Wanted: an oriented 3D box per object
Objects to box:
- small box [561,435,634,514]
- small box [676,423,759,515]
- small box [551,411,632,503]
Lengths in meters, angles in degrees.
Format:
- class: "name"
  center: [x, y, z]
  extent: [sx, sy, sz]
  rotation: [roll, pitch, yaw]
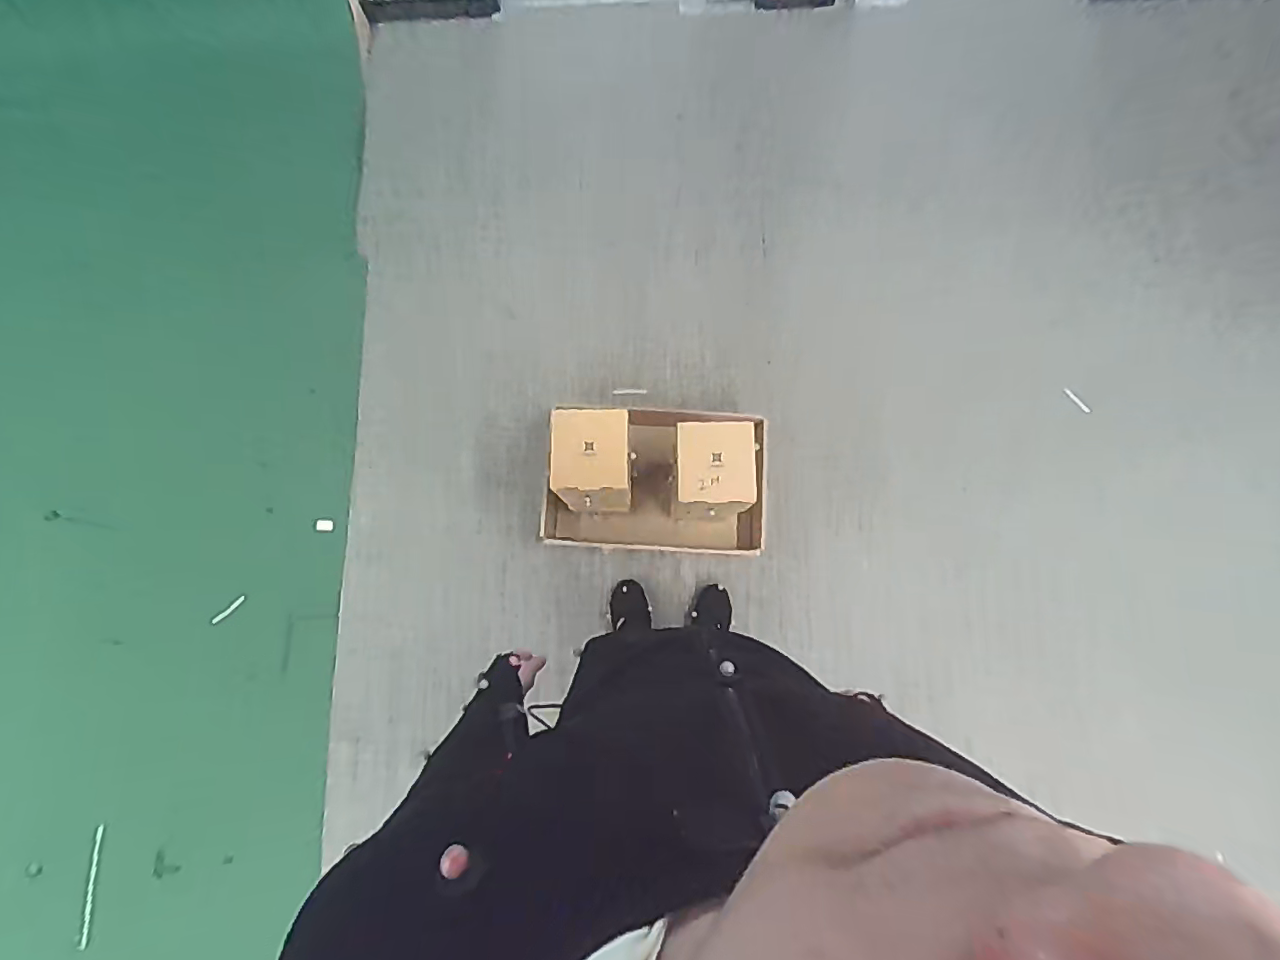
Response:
- class: "small box"
  center: [-0.102, -0.015, 1.379]
  extent: [0.168, 0.176, 0.179]
  rotation: [1, 78, 2]
- class: "small box"
  center: [0.166, -0.020, 1.205]
  extent: [0.168, 0.176, 0.179]
  rotation: [0, 80, 3]
- class: "small box"
  center: [-0.104, -0.047, 1.220]
  extent: [0.168, 0.176, 0.179]
  rotation: [0, 80, 1]
